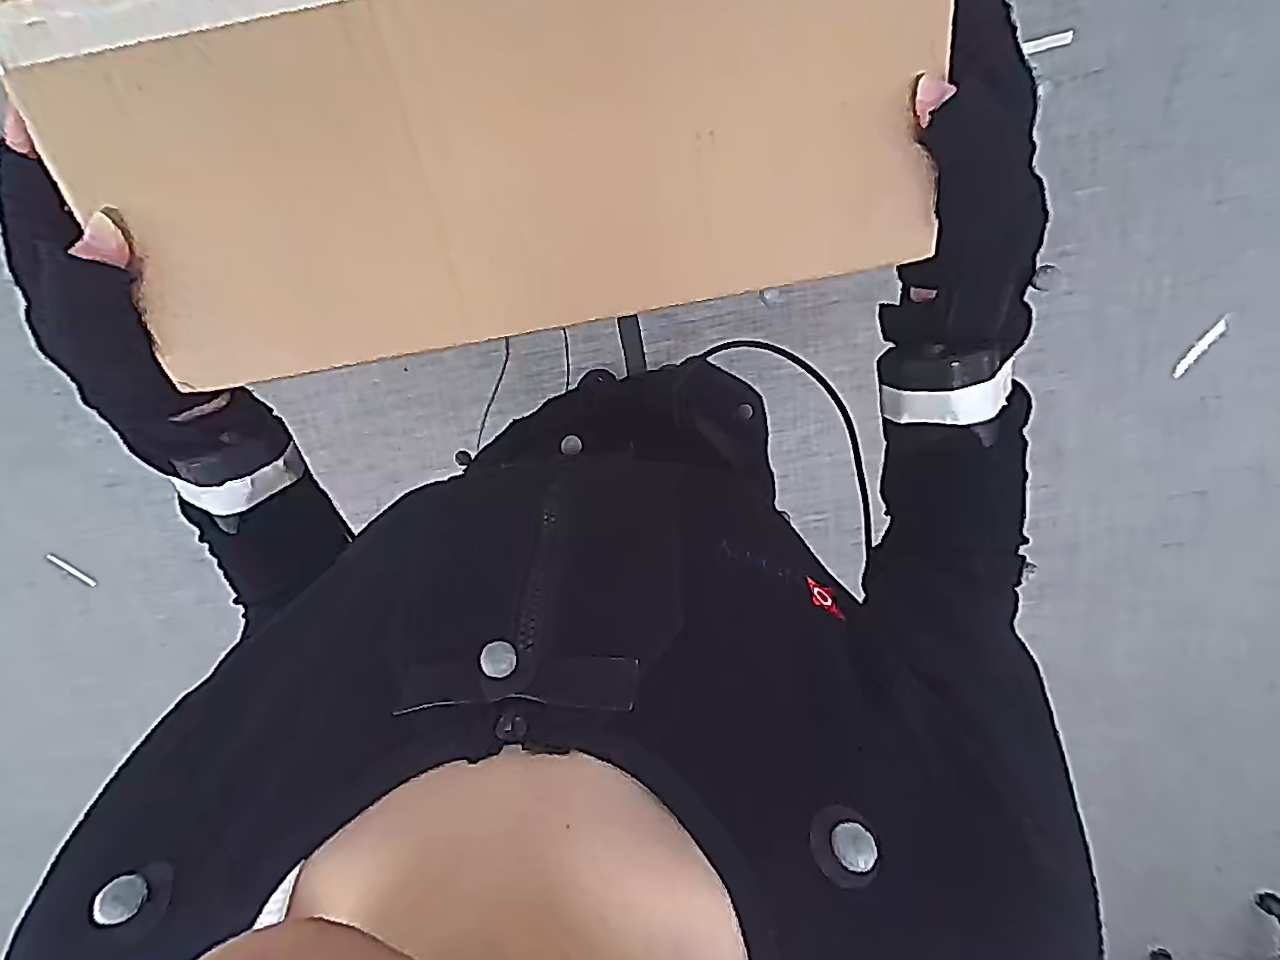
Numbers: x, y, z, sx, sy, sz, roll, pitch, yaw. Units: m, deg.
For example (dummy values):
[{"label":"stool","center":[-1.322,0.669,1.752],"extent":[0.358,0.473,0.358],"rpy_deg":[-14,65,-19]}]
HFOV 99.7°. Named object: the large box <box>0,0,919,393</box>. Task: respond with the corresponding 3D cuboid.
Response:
[{"label":"large box","center":[-0.081,-0.283,0.362],"extent":[0.408,0.320,0.320],"rpy_deg":[-9,115,3]}]
